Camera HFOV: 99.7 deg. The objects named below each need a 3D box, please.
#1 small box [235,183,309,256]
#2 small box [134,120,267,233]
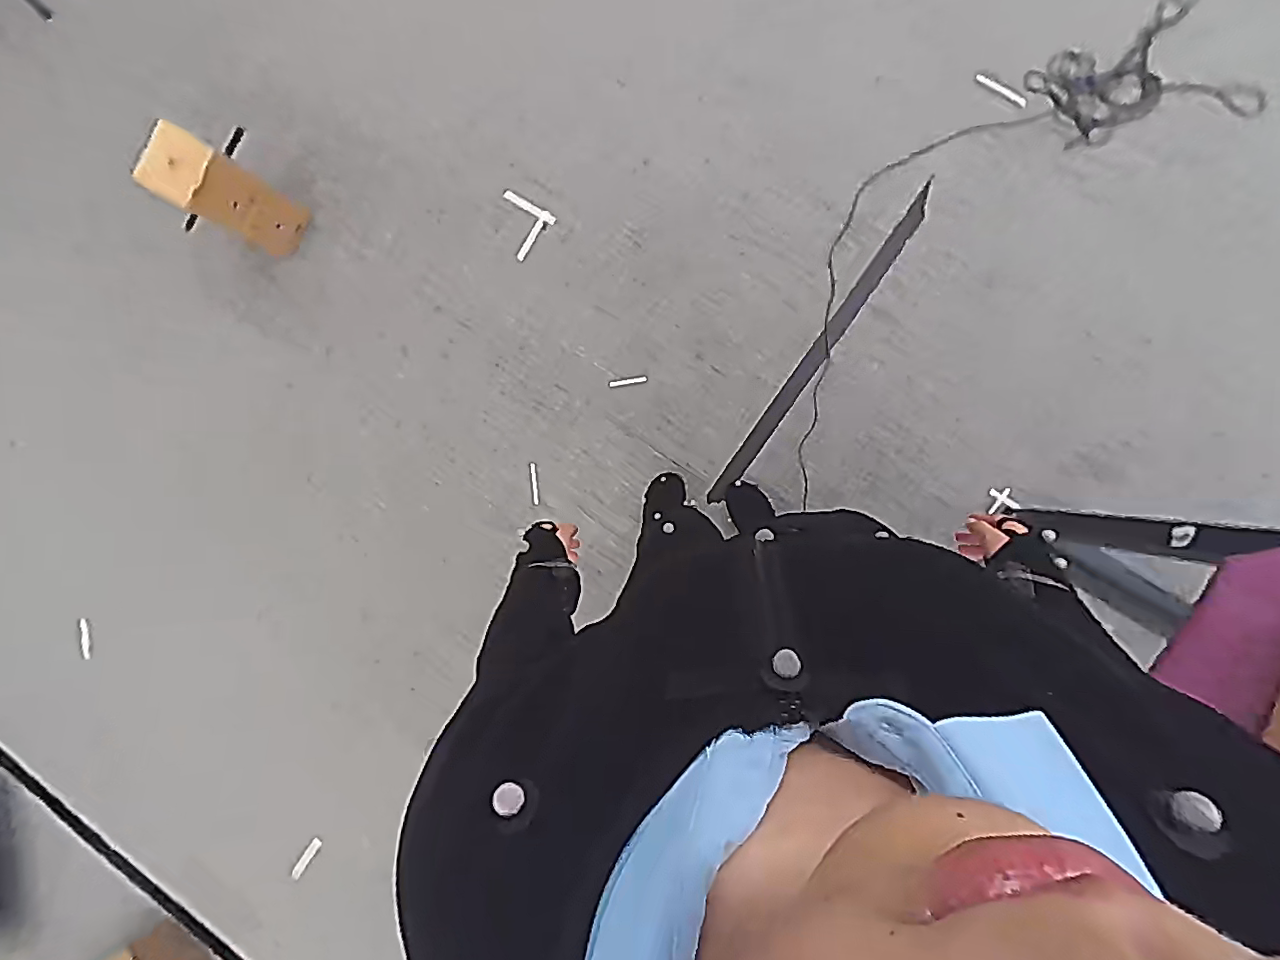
[{"bbox_3d":[-1.115,-0.781,1.572,0.179,0.176,0.168,30,94,7],"label":"small box"},{"bbox_3d":[-1.137,-0.780,1.411,0.179,0.176,0.168,31,95,5],"label":"small box"}]
